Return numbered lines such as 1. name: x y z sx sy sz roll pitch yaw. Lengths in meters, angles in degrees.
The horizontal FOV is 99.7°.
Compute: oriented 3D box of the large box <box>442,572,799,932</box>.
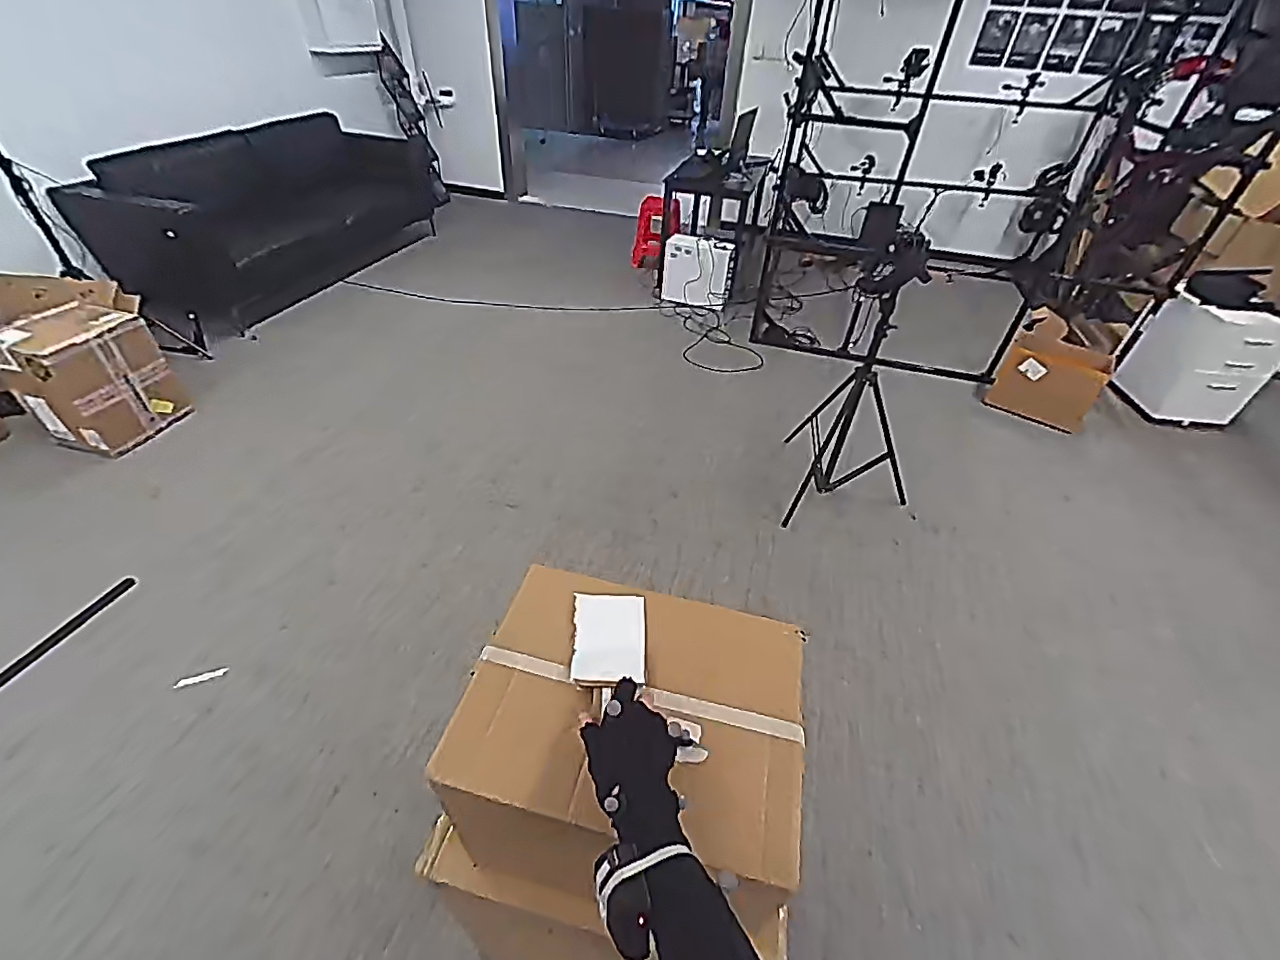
1. large box: -0.009 0.382 0.786 0.408 0.320 0.320 11 42 8
